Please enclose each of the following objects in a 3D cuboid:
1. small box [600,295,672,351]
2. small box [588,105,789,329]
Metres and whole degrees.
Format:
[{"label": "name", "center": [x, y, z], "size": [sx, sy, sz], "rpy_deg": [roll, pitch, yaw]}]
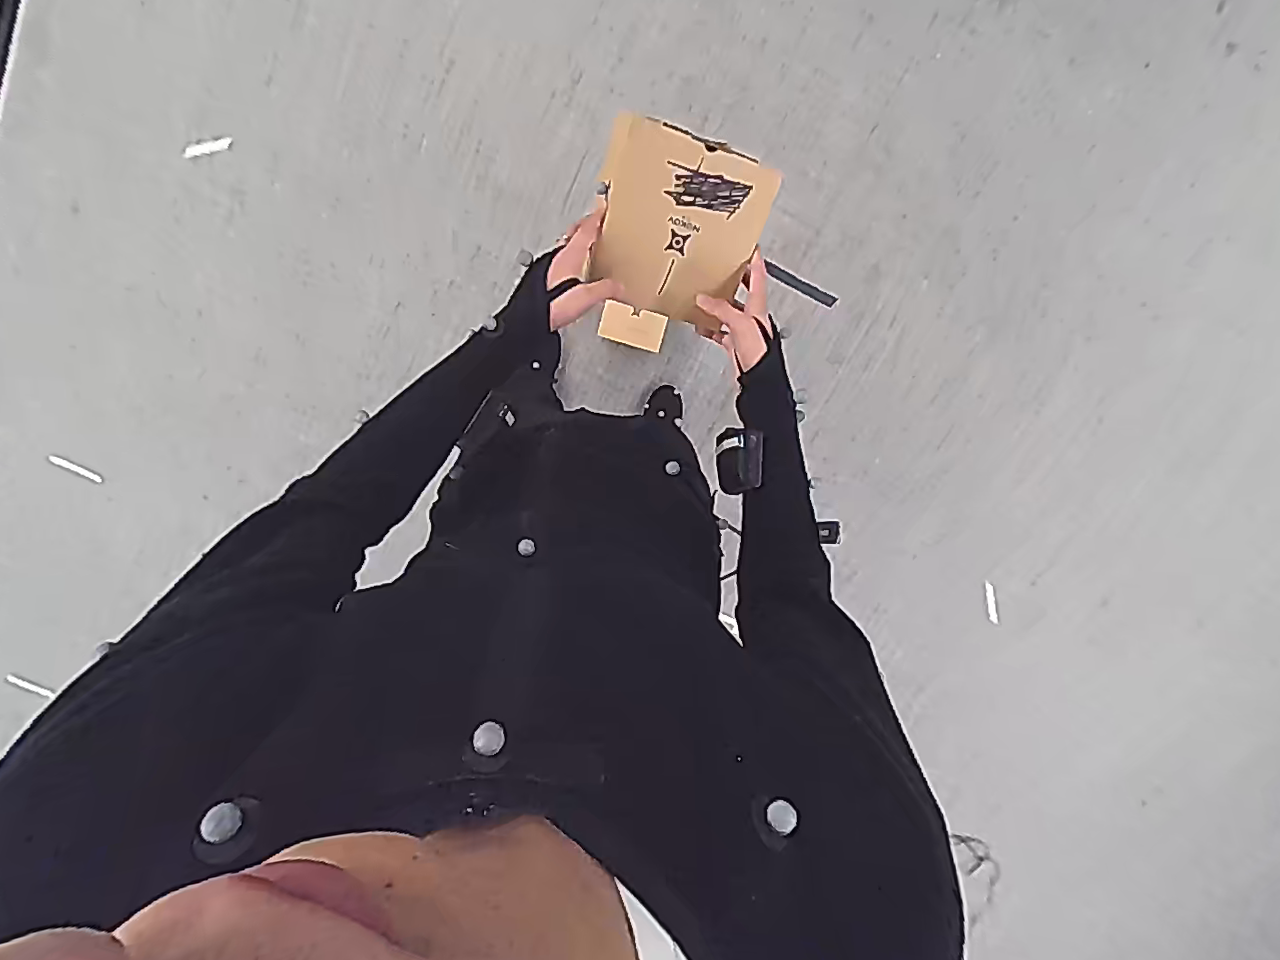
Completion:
[{"label": "small box", "center": [-0.002, -0.450, 1.426], "size": [0.168, 0.176, 0.179], "rpy_deg": [16, 104, -4]}, {"label": "small box", "center": [0.038, -0.304, 0.623], "size": [0.168, 0.176, 0.179], "rpy_deg": [12, 123, -15]}]
